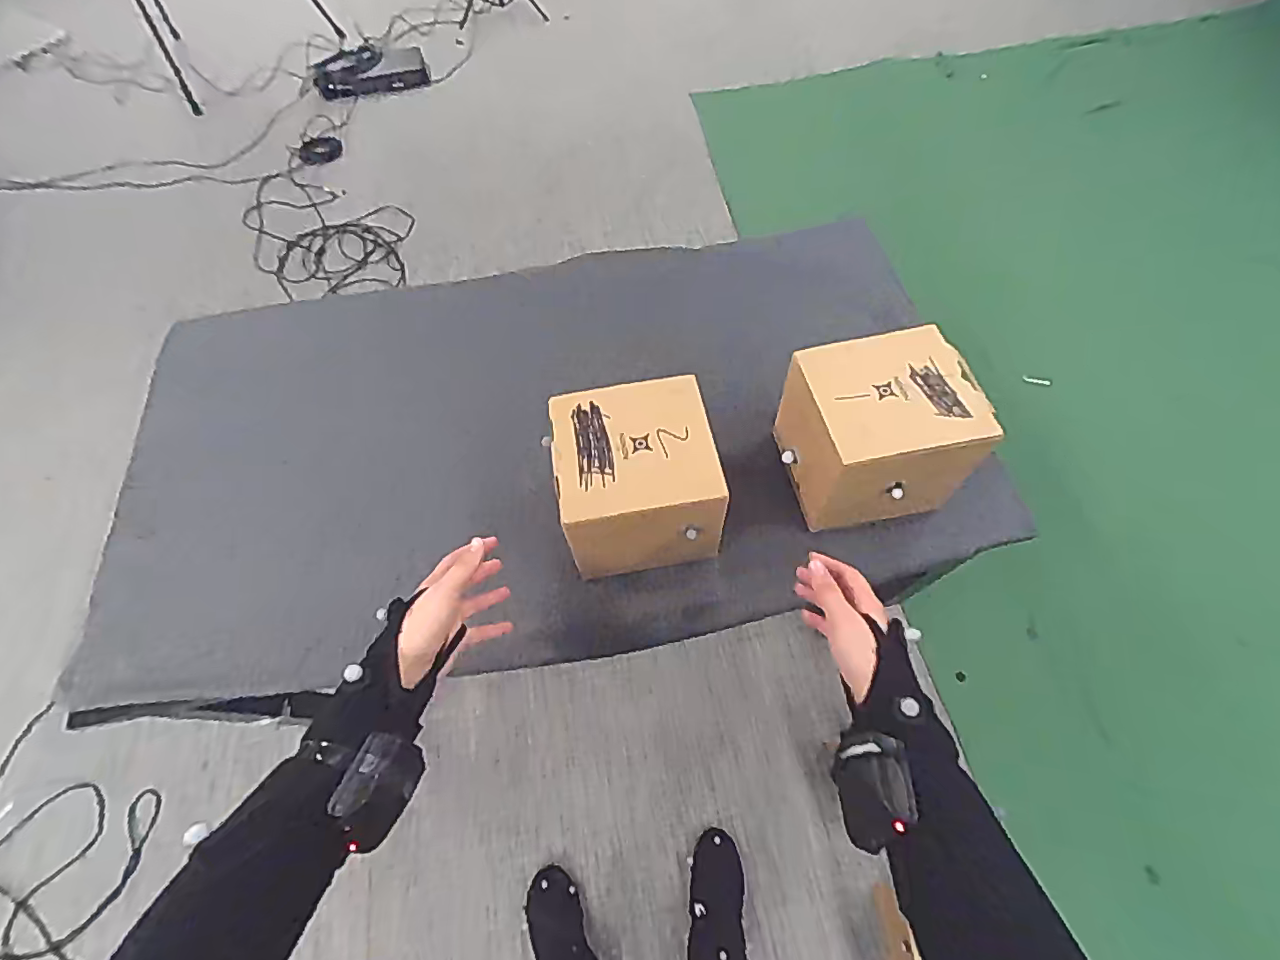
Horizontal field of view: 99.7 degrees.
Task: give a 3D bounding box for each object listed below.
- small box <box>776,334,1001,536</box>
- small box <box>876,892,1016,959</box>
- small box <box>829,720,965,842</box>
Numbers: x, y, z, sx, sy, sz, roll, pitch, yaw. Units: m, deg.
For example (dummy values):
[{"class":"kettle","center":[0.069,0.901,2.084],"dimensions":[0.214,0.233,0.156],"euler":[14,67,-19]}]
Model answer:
[{"class":"small box","center":[0.282,-0.048,0.664],"dimensions":[0.179,0.176,0.168],"euler":[-11,59,0]},{"class":"small box","center":[0.567,0.883,0.999],"dimensions":[0.179,0.176,0.168],"euler":[-3,64,2]},{"class":"small box","center":[0.526,0.622,1.133],"dimensions":[0.168,0.176,0.179],"euler":[-18,64,-6]}]
